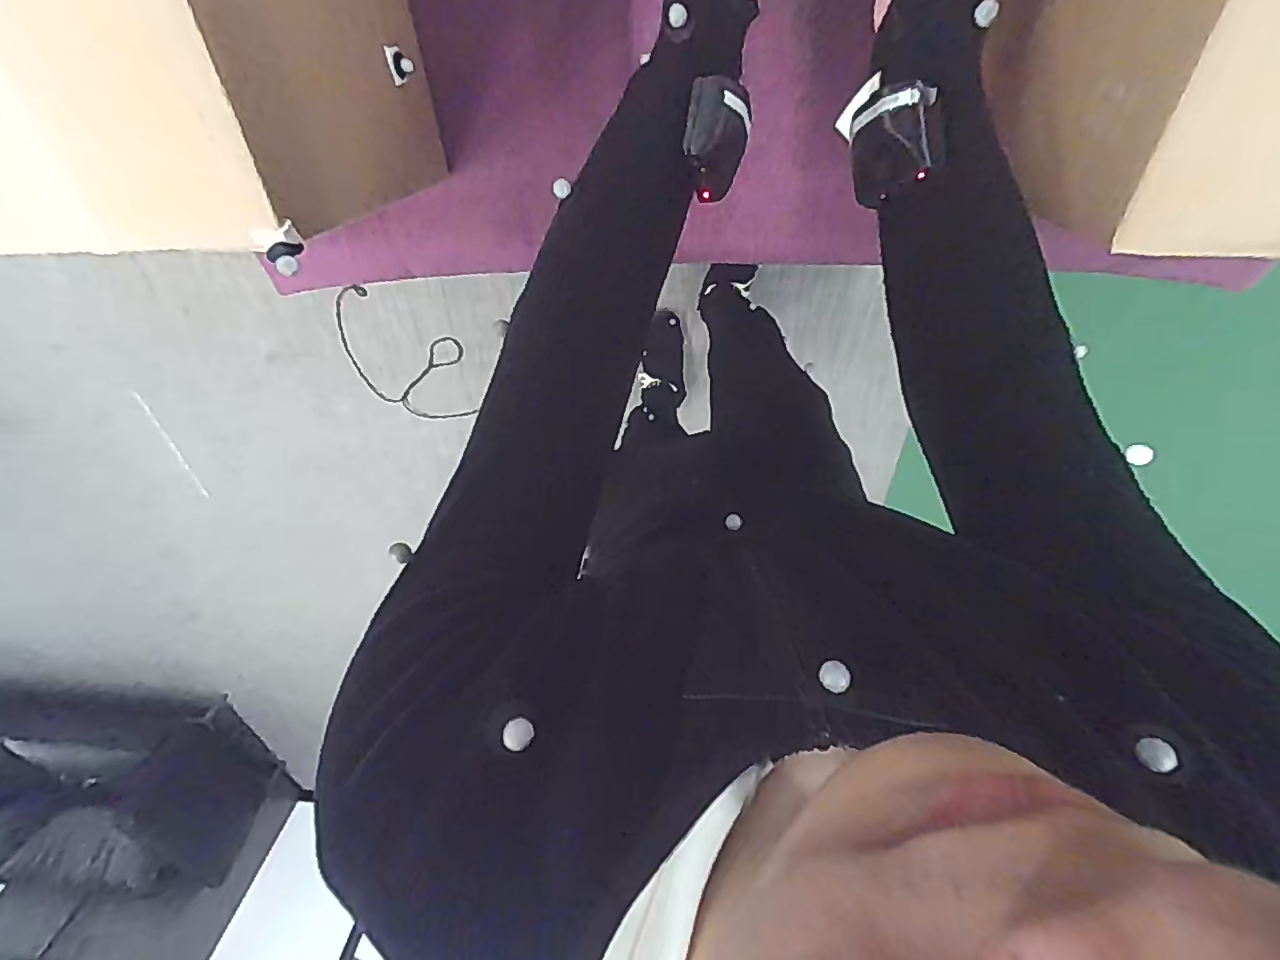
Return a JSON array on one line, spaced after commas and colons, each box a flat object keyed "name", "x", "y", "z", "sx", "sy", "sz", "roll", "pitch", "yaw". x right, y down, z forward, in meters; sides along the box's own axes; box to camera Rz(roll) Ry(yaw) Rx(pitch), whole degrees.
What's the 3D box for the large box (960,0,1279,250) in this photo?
[{"name": "large box", "x": 0.463, "y": -0.391, "z": 0.323, "sx": 0.320, "sy": 0.320, "sz": 0.408, "roll": 3, "pitch": 129, "yaw": 6}]
